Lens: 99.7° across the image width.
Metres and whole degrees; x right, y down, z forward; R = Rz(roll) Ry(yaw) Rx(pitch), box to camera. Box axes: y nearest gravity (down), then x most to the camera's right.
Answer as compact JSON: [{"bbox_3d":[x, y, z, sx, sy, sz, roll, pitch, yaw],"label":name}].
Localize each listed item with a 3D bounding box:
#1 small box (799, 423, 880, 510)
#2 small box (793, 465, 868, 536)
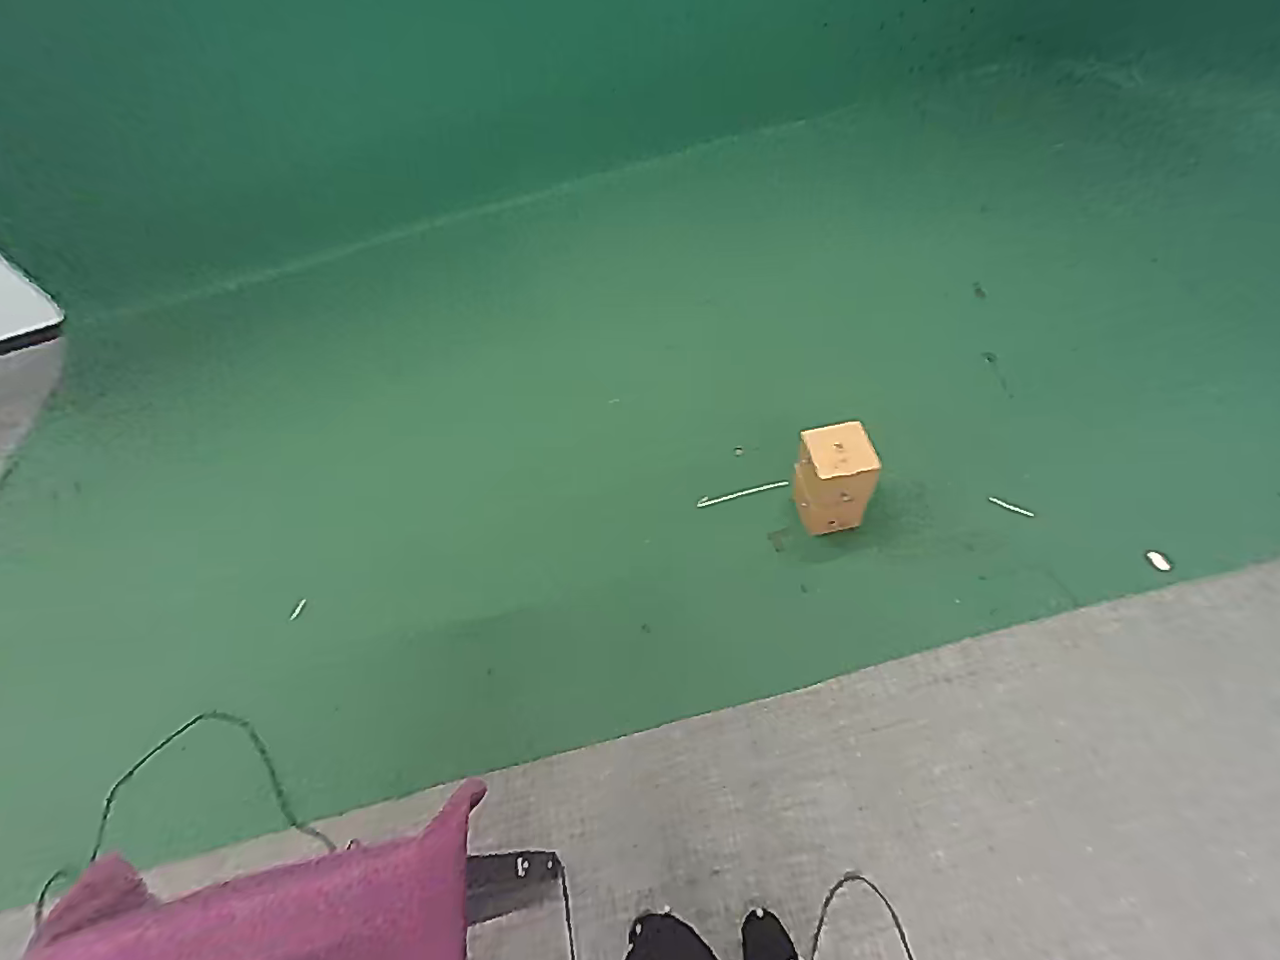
[{"bbox_3d":[0.572,-0.037,1.578,0.168,0.176,0.179,-11,55,3],"label":"small box"},{"bbox_3d":[0.595,0.052,1.714,0.168,0.176,0.179,-13,55,2],"label":"small box"}]
